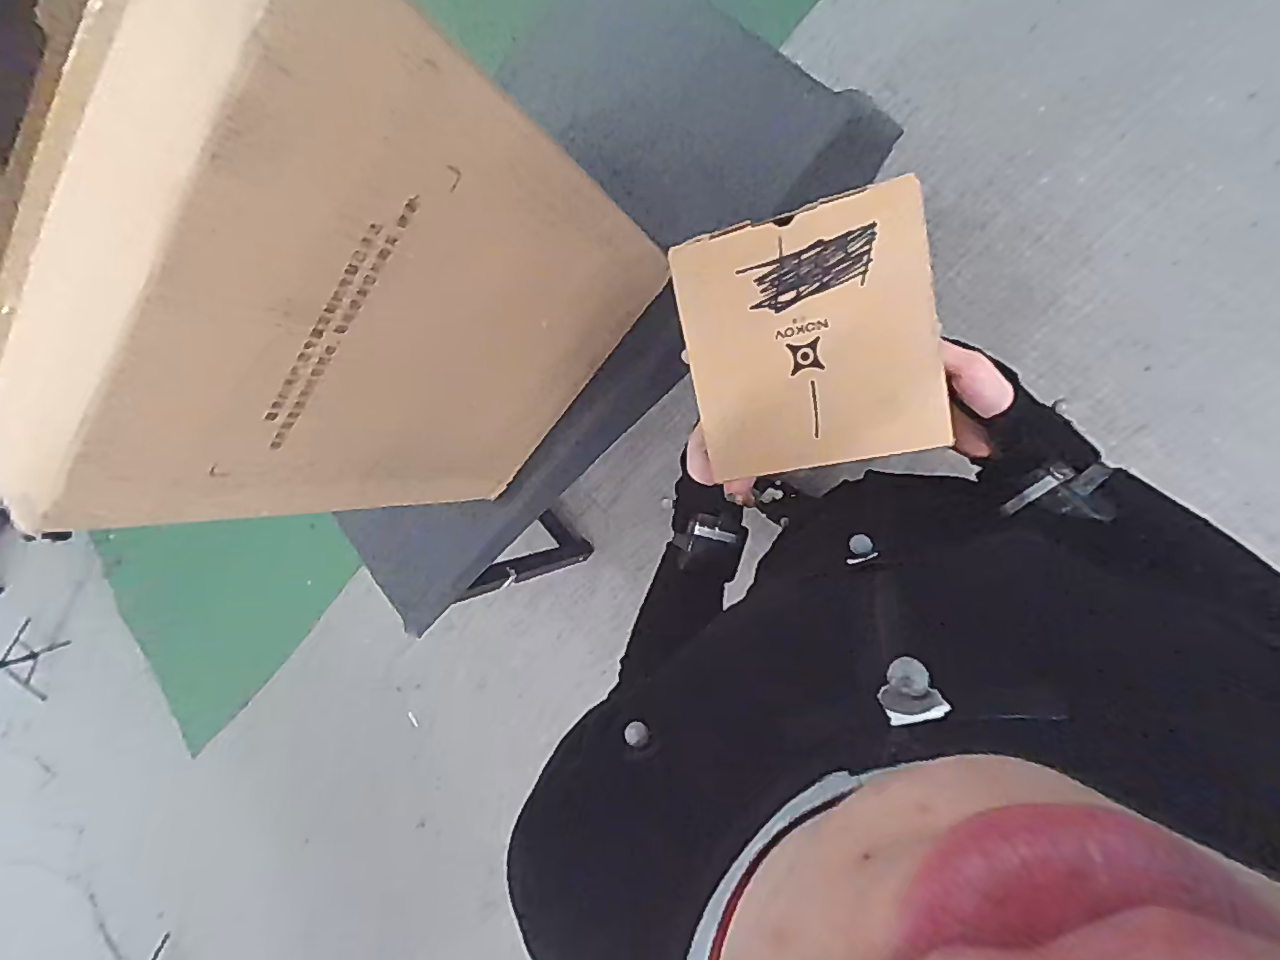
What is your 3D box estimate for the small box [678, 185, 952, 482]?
[{"bbox_3d":[0.141,-0.109,0.453,0.168,0.176,0.179,-9,99,20],"label":"small box"}]
